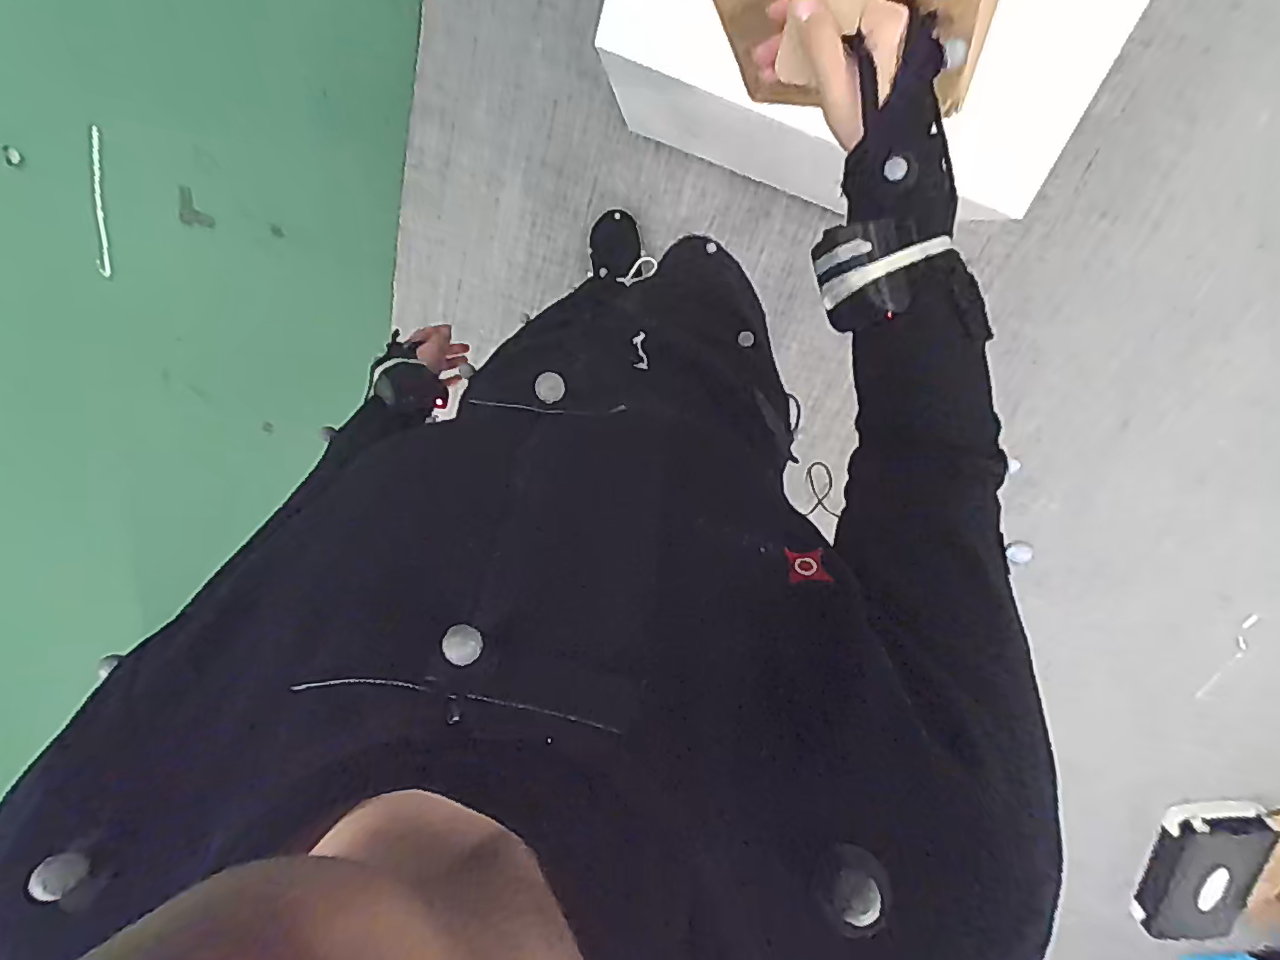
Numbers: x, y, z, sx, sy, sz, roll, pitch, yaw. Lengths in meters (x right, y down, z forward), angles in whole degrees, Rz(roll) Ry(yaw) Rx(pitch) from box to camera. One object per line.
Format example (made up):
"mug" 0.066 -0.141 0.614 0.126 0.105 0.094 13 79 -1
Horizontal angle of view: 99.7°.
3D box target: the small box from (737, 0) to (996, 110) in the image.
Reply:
"small box" 0.160 -0.381 0.346 0.168 0.176 0.179 20 103 20
